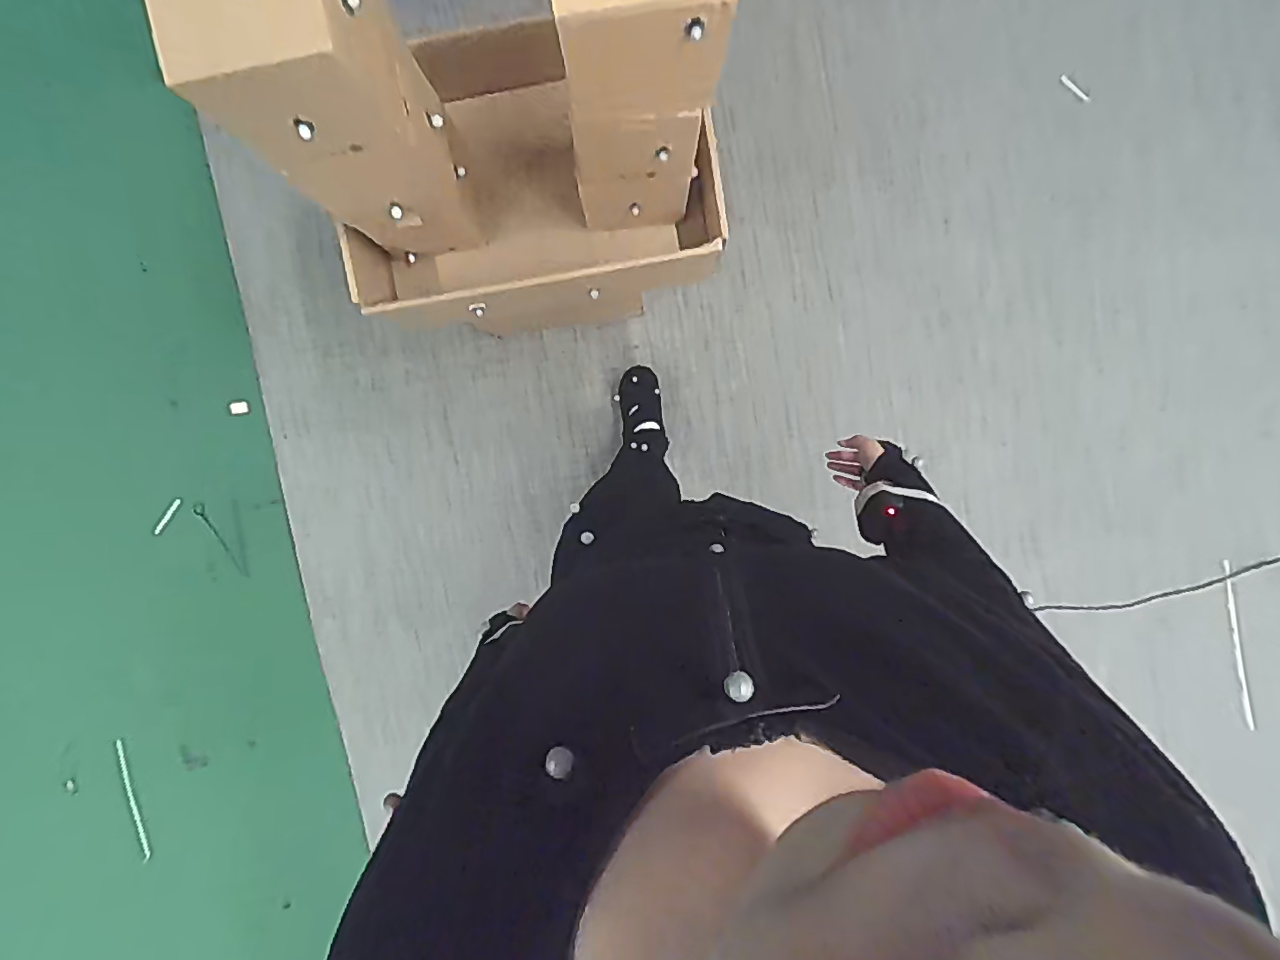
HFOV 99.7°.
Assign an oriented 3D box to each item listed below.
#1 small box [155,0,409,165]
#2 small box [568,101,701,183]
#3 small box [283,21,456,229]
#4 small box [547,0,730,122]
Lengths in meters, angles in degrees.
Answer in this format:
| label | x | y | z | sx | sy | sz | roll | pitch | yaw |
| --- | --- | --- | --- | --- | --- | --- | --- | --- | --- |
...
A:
| label | x | y | z | sx | sy | sz | roll | pitch | yaw |
| --- | --- | --- | --- | --- | --- | --- | --- | --- | --- |
| small box | -0.373 | -0.471 | 0.585 | 0.168 | 0.176 | 0.179 | -9 | 93 | 2 |
| small box | -0.008 | -0.528 | 0.737 | 0.168 | 0.176 | 0.179 | -4 | 92 | 0 |
| small box | -0.372 | -0.476 | 0.751 | 0.179 | 0.176 | 0.168 | -11 | 92 | 1 |
| small box | -0.008 | -0.517 | 0.575 | 0.179 | 0.176 | 0.168 | -9 | 93 | 0 |
